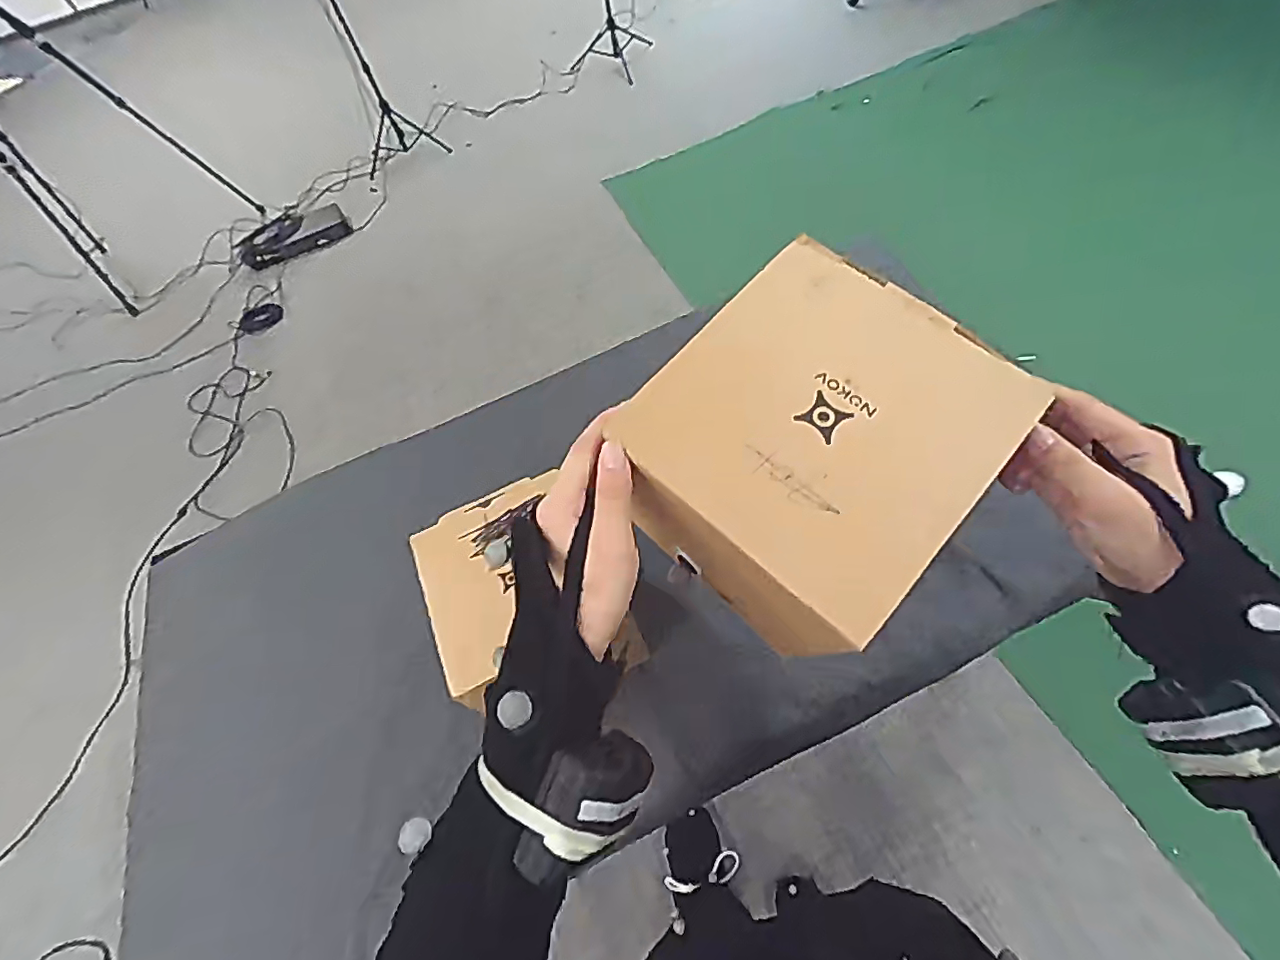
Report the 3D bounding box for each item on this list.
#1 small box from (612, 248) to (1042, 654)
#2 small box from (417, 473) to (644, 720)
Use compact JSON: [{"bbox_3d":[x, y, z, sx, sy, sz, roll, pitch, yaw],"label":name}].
[{"bbox_3d":[0.102,-0.005,0.364,0.168,0.176,0.179,40,77,16],"label":"small box"},{"bbox_3d":[-0.110,0.130,0.582,0.168,0.176,0.179,-26,57,-6],"label":"small box"}]
